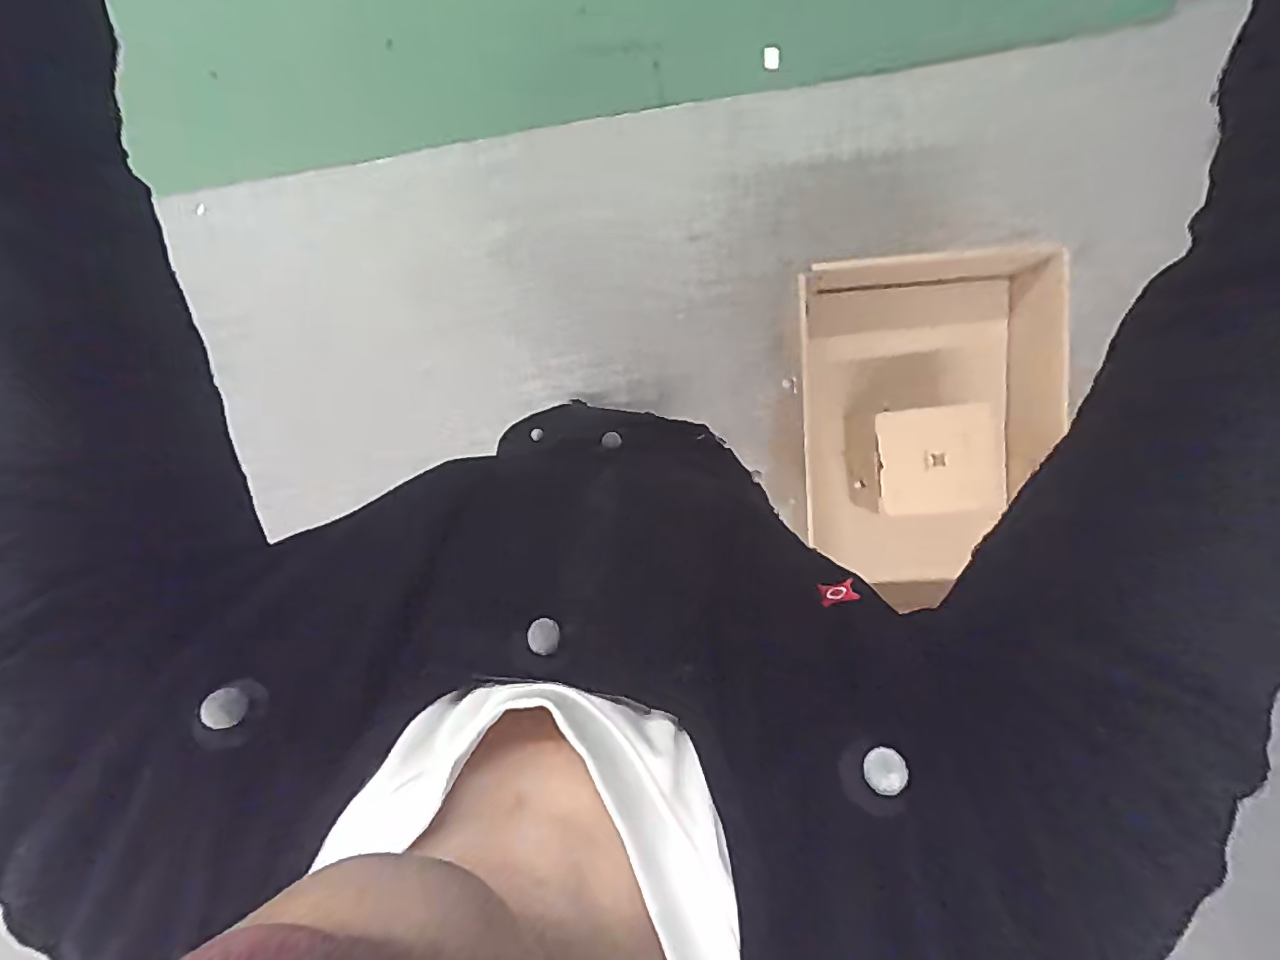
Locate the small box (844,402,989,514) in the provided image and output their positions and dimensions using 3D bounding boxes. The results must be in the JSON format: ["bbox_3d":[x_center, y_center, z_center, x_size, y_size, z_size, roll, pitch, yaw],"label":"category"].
[{"bbox_3d":[0.458,-0.041,0.923,0.179,0.176,0.168,-6,97,3],"label":"small box"}]
